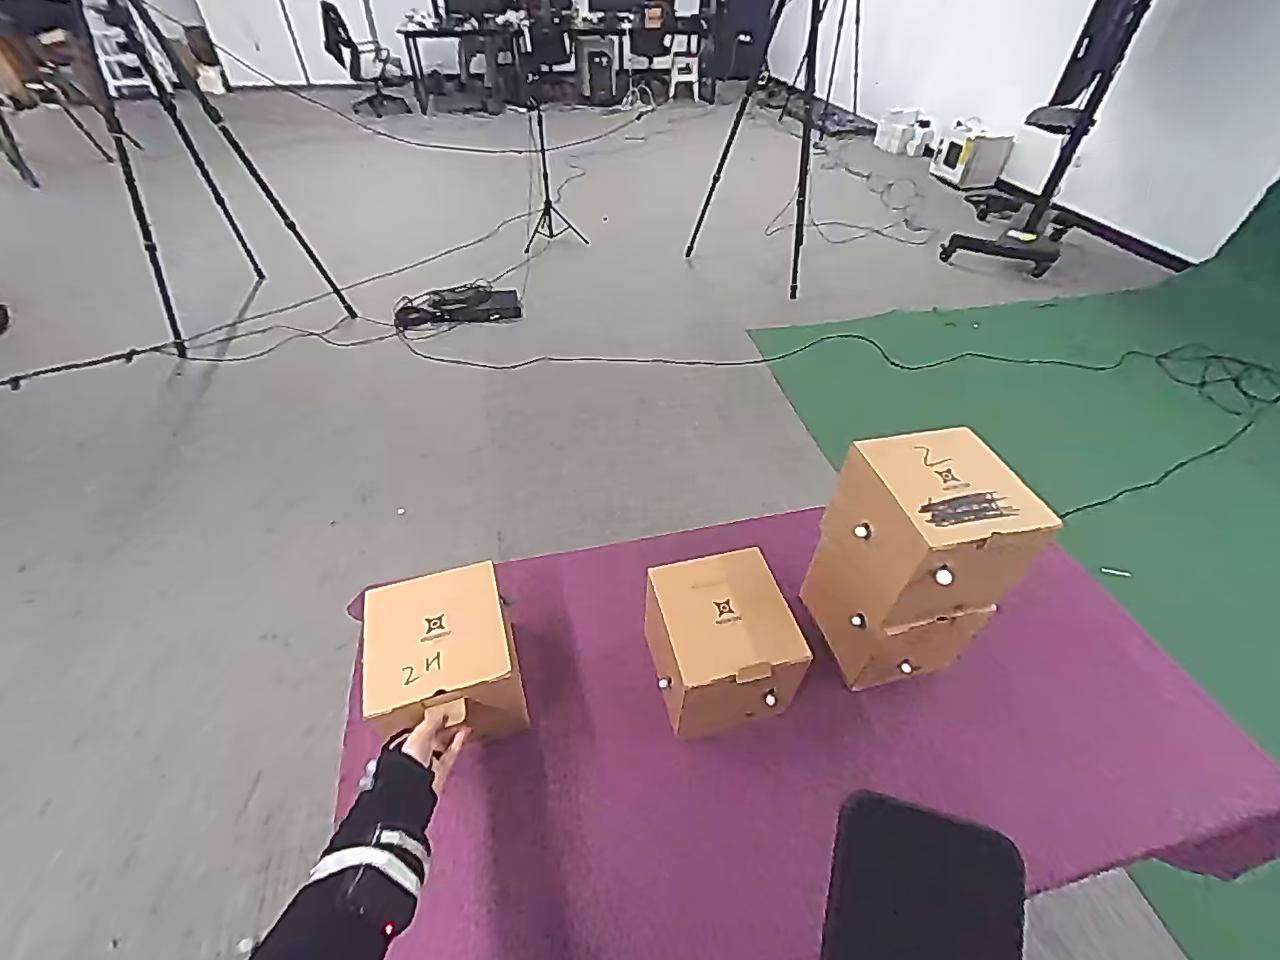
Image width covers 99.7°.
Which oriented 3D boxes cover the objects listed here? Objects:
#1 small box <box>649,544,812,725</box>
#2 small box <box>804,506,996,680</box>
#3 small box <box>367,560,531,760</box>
[{"bbox_3d":[0.112,0.220,0.754,0.168,0.176,0.179,-10,46,-11],"label":"small box"},{"bbox_3d":[0.366,0.168,0.806,0.168,0.176,0.179,-10,47,-10],"label":"small box"},{"bbox_3d":[-0.251,0.241,0.727,0.168,0.176,0.179,-13,47,-13],"label":"small box"}]
